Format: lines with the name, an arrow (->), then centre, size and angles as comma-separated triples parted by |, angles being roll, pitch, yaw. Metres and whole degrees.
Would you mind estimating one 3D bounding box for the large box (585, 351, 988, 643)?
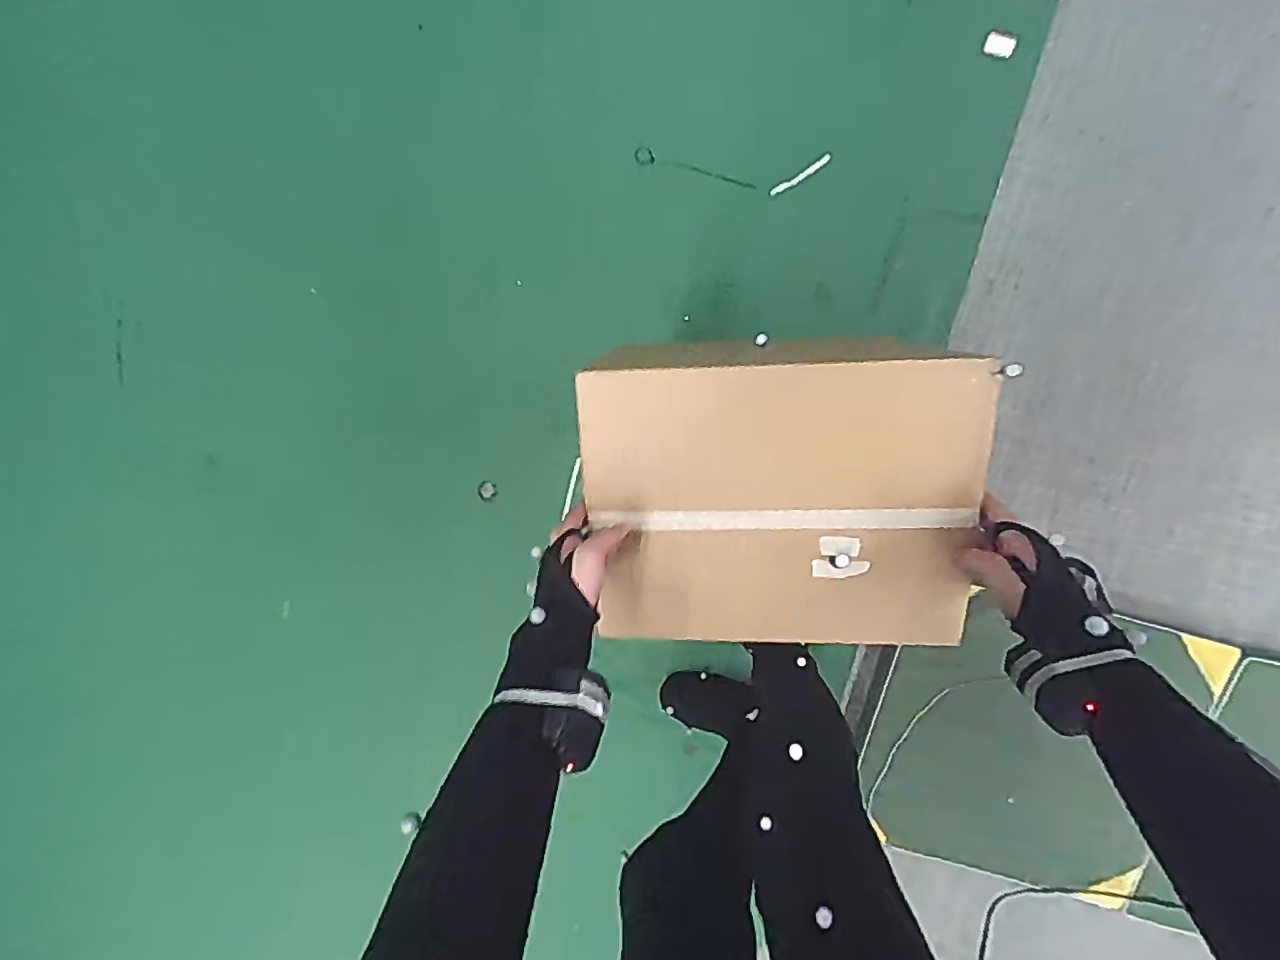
large box -> 0.159, -0.001, 0.726 | 0.408, 0.320, 0.320 | -1, 109, 6
